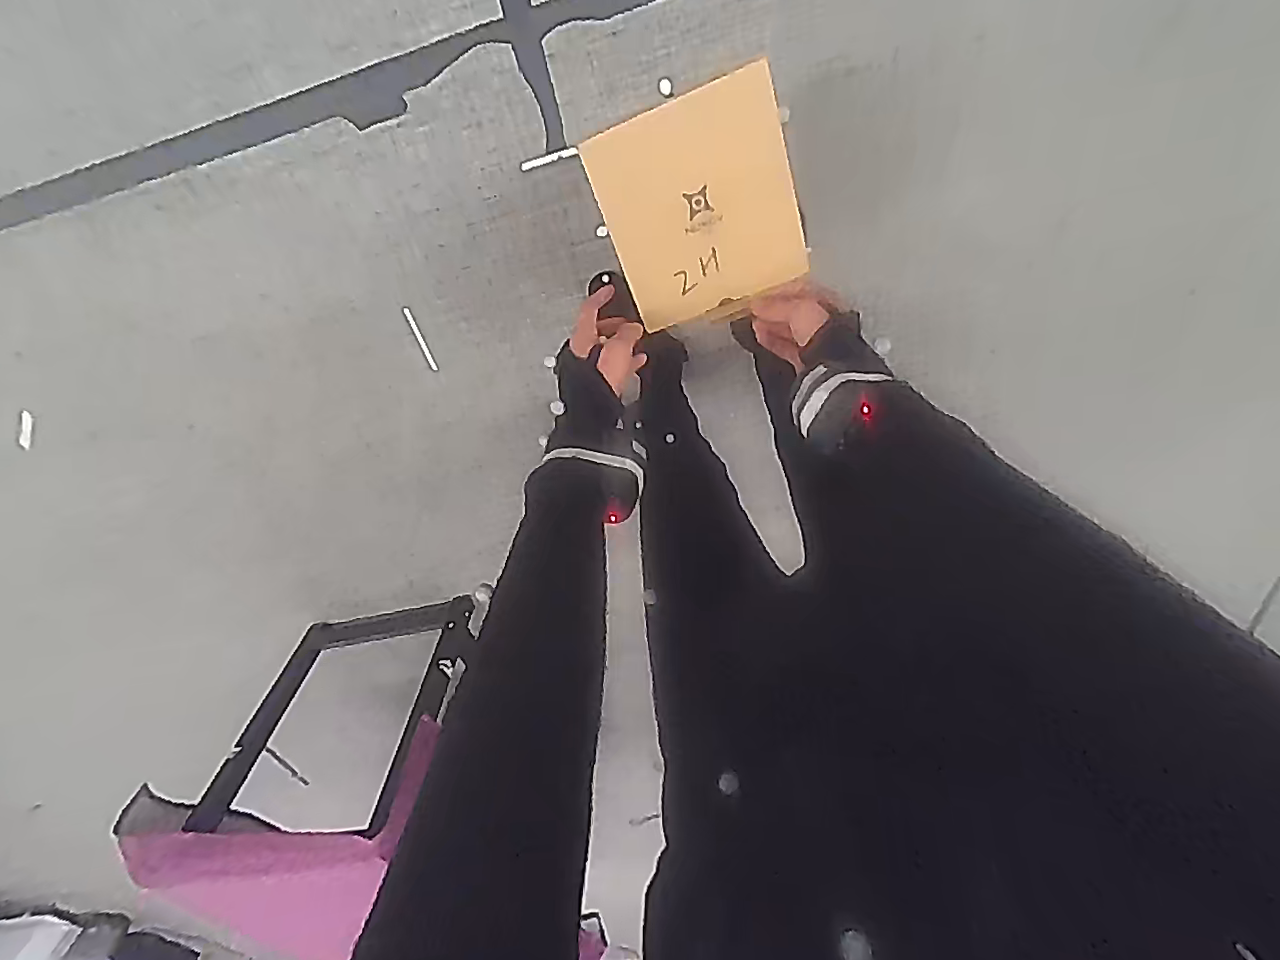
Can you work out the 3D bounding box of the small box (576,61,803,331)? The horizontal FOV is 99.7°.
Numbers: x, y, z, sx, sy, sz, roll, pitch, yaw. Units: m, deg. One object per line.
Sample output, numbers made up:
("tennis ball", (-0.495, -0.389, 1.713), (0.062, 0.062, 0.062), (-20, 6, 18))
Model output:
("small box", (0.049, -0.283, 0.546), (0.168, 0.176, 0.179), (-17, 124, 12))
